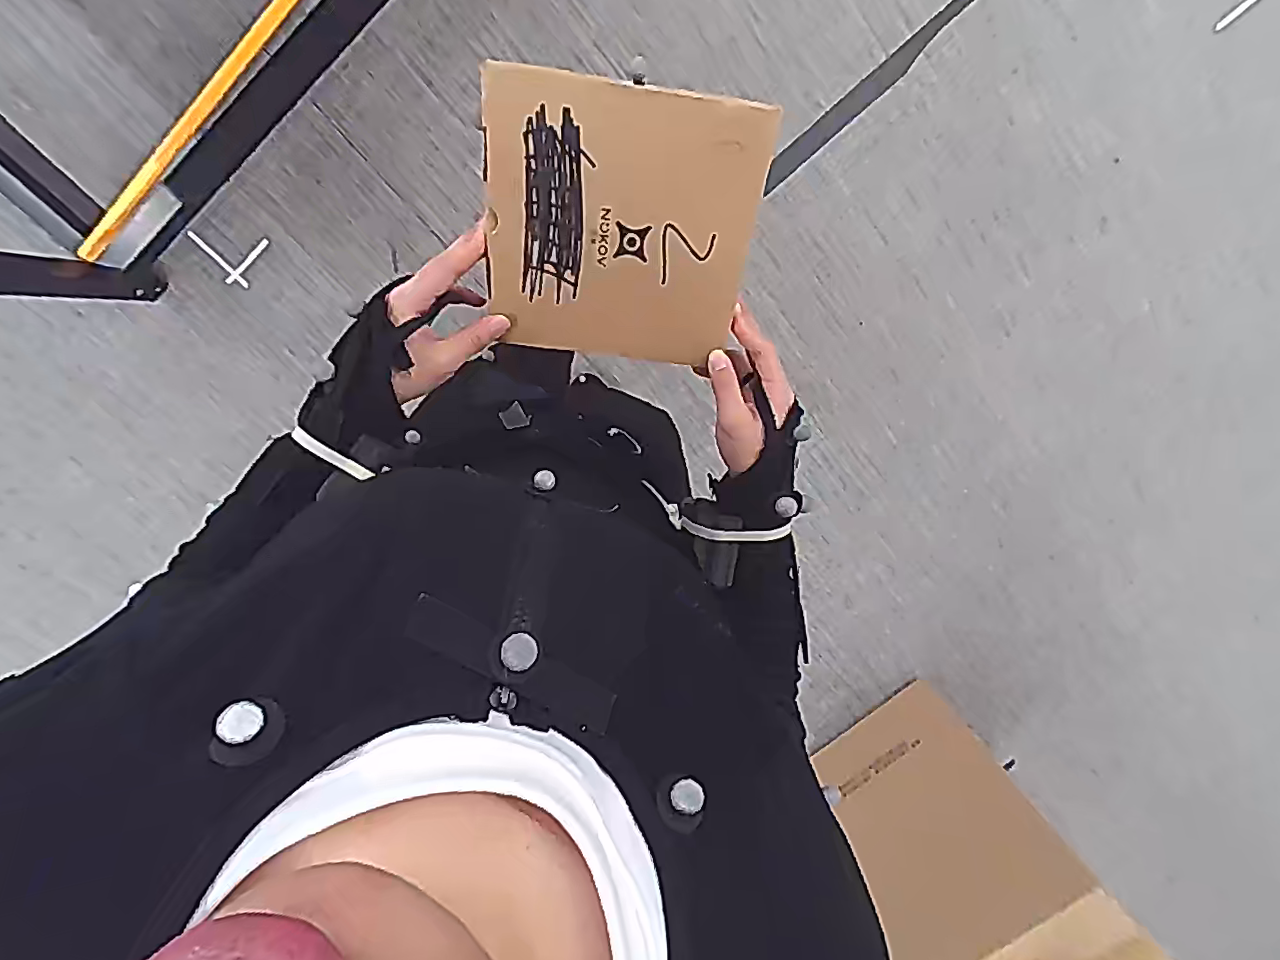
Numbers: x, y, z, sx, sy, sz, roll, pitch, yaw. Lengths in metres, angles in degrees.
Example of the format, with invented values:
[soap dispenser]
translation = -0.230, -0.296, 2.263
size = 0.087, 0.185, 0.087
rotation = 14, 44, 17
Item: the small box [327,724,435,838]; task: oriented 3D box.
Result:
[small box]
translation = -0.690, 0.808, 1.465
size = 0.179, 0.176, 0.168
rotation = -33, 106, 5
